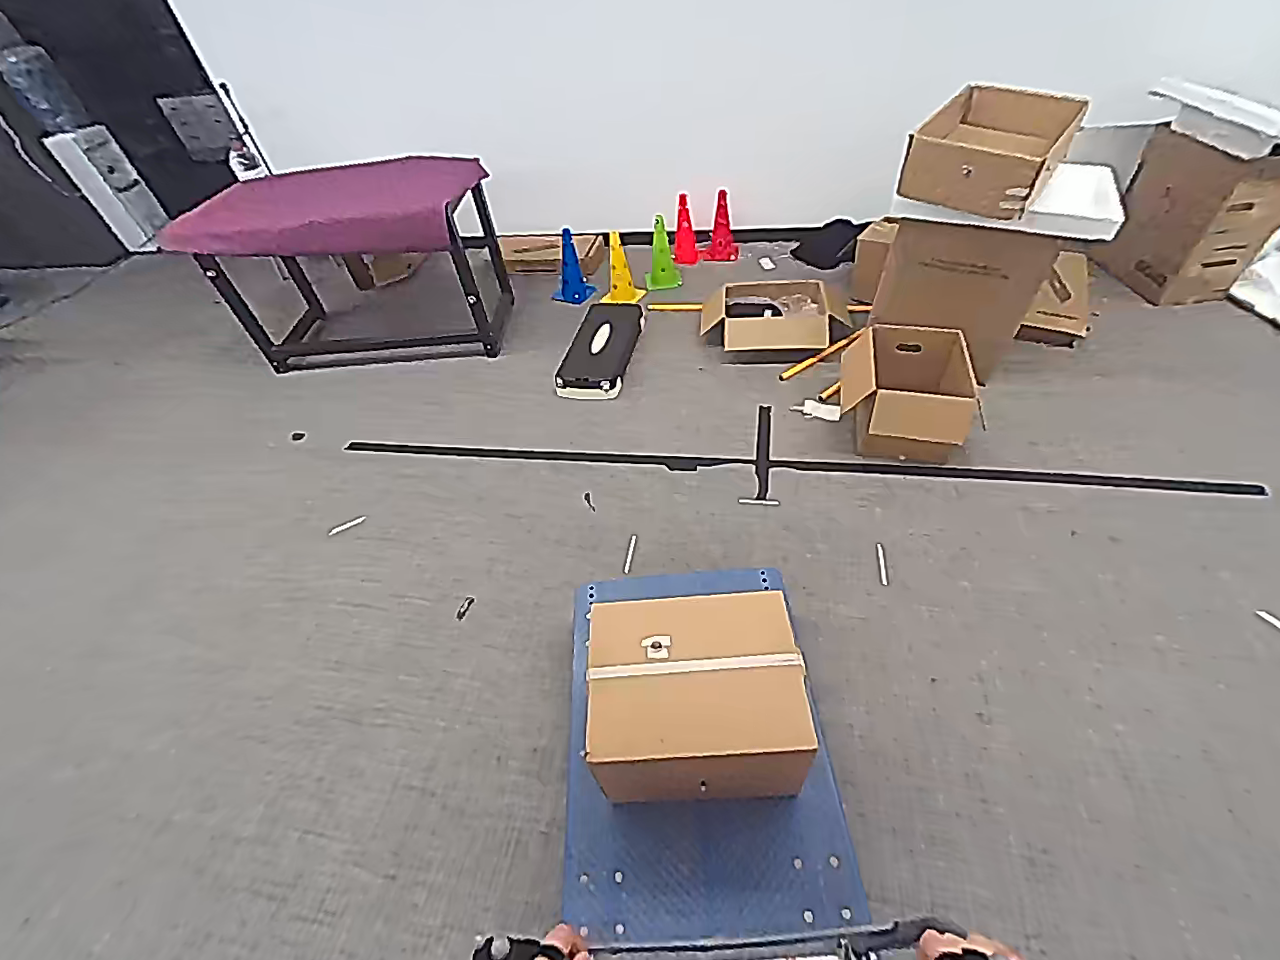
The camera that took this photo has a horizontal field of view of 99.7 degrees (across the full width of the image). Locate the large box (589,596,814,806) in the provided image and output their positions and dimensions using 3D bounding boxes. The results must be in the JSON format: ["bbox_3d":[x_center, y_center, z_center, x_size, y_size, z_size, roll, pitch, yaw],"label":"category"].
[{"bbox_3d":[0.119,0.478,1.156,0.408,0.320,0.320,-6,46,3],"label":"large box"}]
